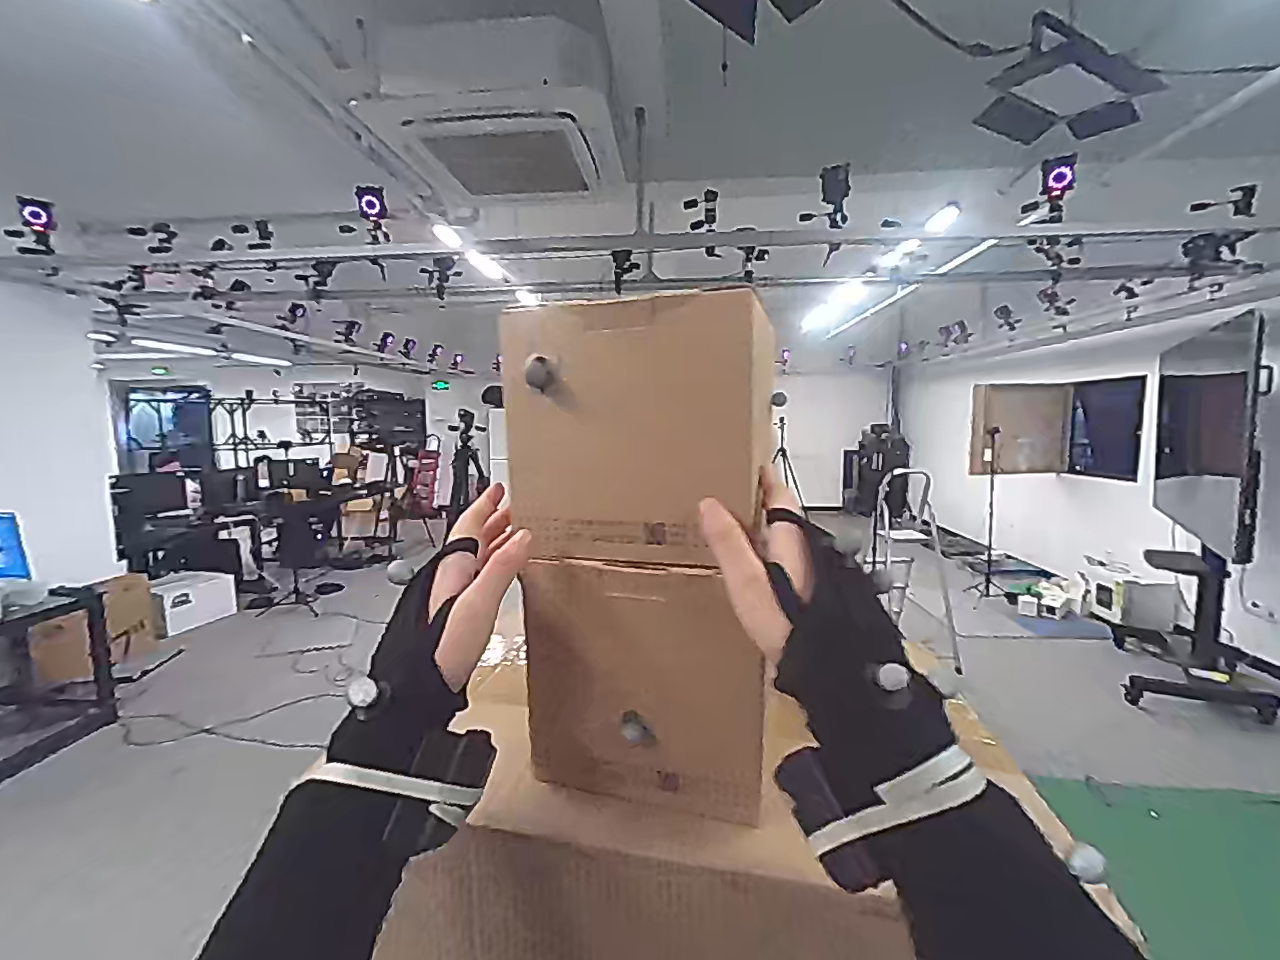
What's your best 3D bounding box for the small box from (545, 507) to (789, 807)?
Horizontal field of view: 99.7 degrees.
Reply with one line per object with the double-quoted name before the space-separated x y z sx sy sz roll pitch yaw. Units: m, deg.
"small box" 0.032 0.124 0.449 0.168 0.176 0.179 2 9 17
